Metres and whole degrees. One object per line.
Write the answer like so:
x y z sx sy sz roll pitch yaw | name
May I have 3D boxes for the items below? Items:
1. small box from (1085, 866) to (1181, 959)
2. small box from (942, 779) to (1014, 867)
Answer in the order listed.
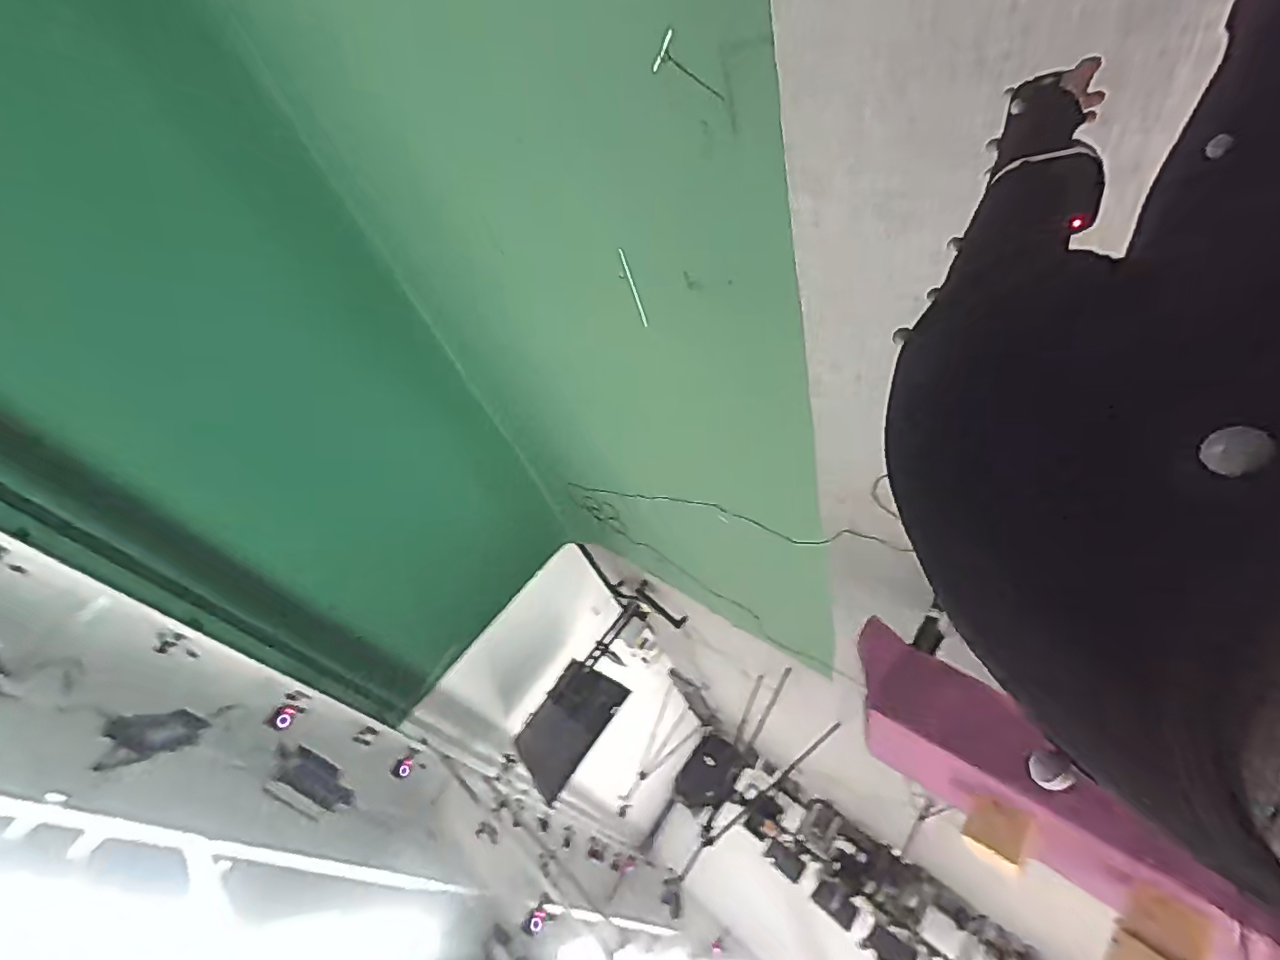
1.460 1.288 1.602 0.168 0.176 0.179 22 152 42 | small box
1.172 1.180 1.866 0.168 0.176 0.179 16 147 46 | small box
